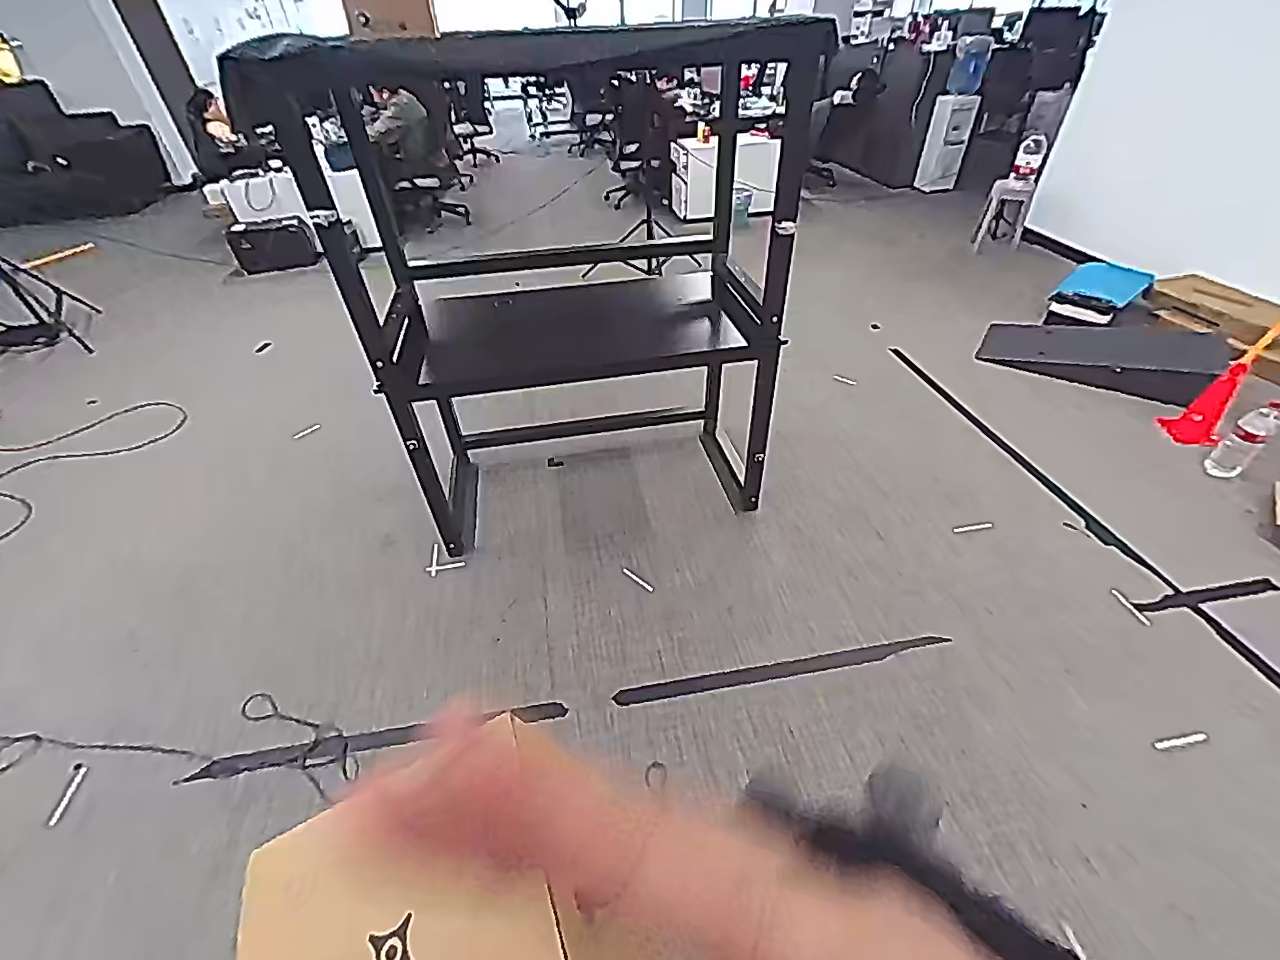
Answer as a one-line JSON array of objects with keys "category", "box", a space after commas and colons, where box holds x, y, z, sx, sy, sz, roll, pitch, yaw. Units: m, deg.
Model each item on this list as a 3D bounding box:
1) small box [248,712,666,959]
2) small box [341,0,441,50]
[{"category": "small box", "box": [-0.089, 0.276, 0.312, 0.168, 0.176, 0.179, -28, 47, -4]}, {"category": "small box", "box": [-0.509, -0.983, 1.093, 0.168, 0.176, 0.179, -9, 39, -10]}]
